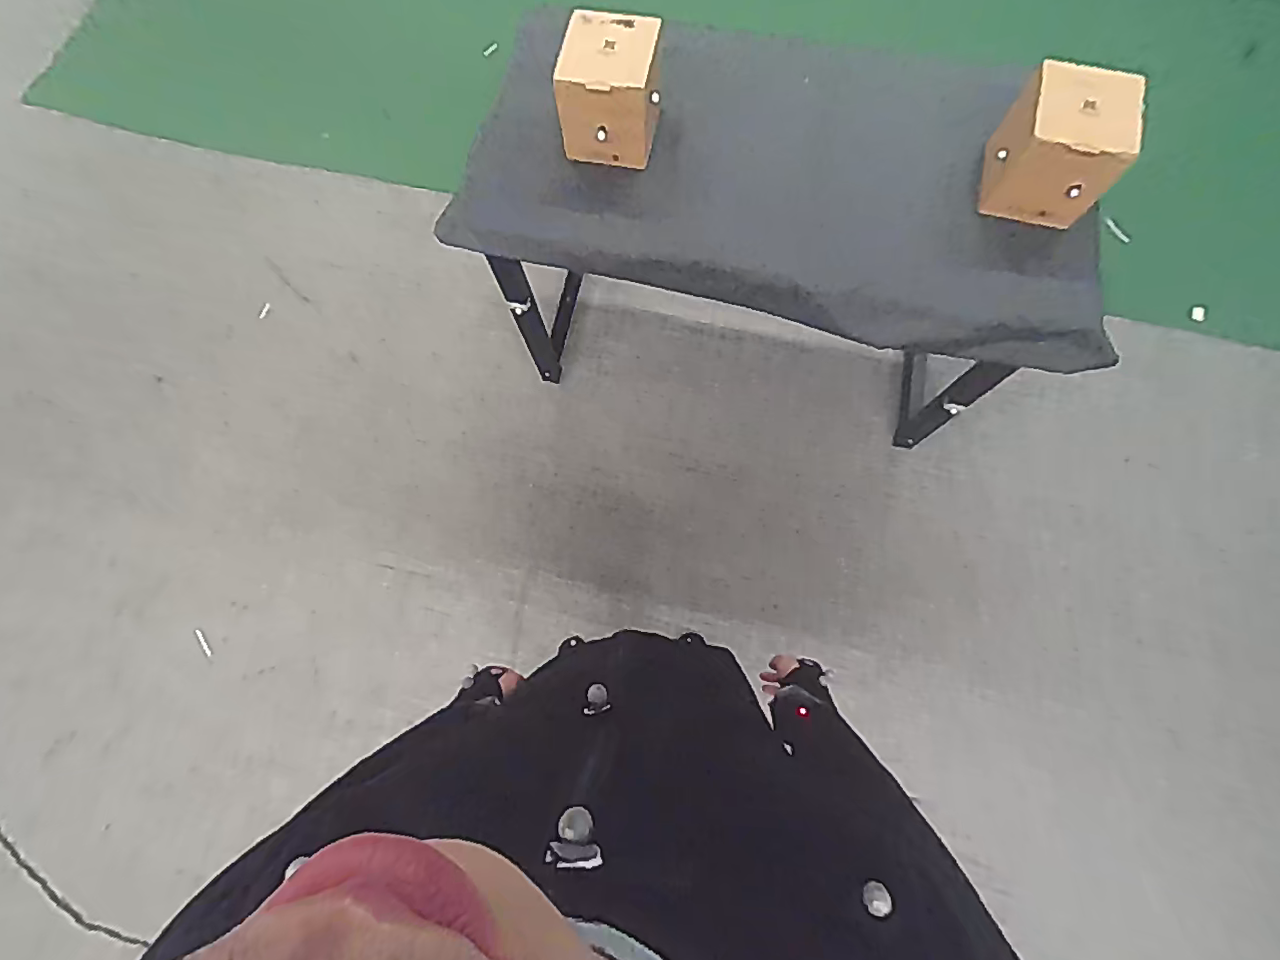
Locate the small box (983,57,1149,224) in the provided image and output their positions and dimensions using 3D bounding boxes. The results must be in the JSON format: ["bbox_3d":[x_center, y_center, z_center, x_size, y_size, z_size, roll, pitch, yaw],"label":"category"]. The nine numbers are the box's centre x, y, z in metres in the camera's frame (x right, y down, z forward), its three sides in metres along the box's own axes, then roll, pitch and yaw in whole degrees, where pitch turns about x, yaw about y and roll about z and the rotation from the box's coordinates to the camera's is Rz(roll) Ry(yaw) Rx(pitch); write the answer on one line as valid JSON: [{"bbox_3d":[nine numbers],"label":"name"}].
[{"bbox_3d":[0.743,-0.592,0.960,0.168,0.176,0.179,15,74,5],"label":"small box"}]

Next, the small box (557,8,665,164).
[{"bbox_3d":[-0.048,-0.743,1.034,0.168,0.176,0.179,11,75,4],"label":"small box"}]
